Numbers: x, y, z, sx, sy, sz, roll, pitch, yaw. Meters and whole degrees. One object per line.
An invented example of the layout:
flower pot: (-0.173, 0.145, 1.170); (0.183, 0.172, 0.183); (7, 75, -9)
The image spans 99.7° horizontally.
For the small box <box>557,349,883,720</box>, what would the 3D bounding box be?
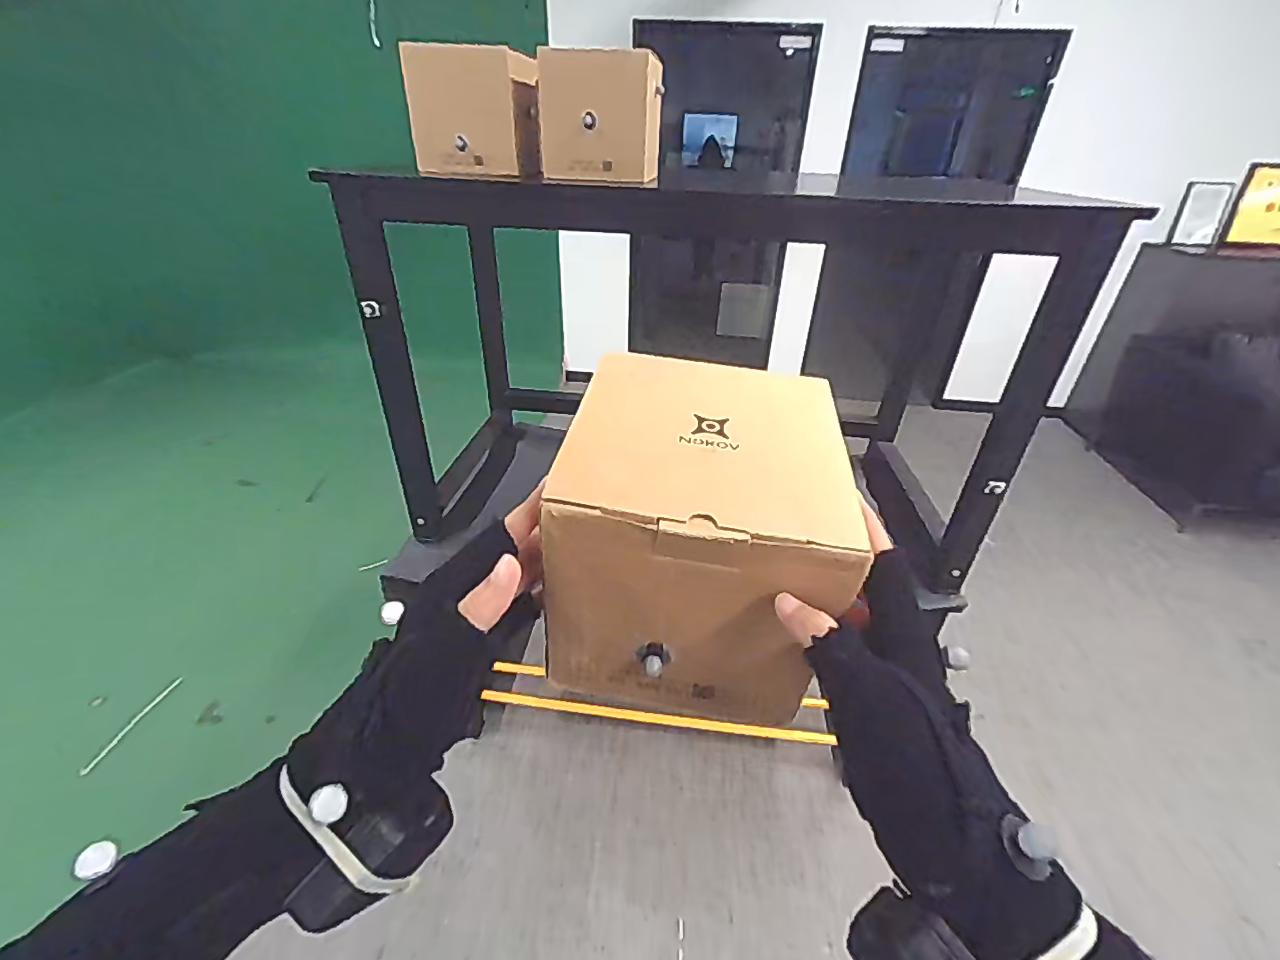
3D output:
small box: (0.041, 0.033, 0.377); (0.168, 0.176, 0.179); (9, 40, 3)

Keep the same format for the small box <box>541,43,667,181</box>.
small box: (-0.051, -0.585, 0.871); (0.168, 0.176, 0.179); (7, 33, 5)
